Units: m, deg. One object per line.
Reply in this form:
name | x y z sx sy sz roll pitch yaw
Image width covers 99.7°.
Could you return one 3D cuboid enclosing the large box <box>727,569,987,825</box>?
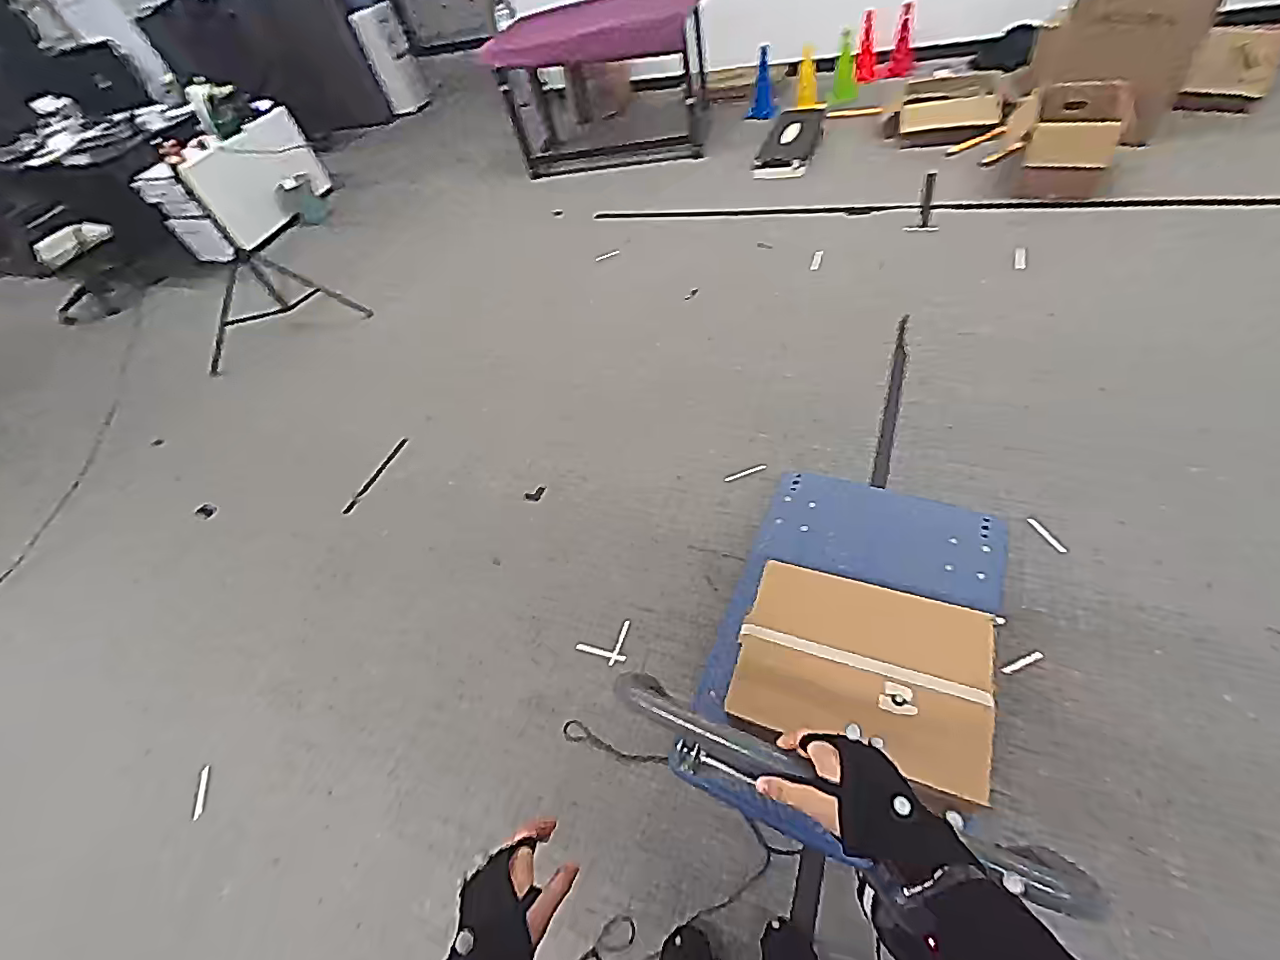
large box | 0.409 0.421 1.069 0.408 0.320 0.320 12 57 21
